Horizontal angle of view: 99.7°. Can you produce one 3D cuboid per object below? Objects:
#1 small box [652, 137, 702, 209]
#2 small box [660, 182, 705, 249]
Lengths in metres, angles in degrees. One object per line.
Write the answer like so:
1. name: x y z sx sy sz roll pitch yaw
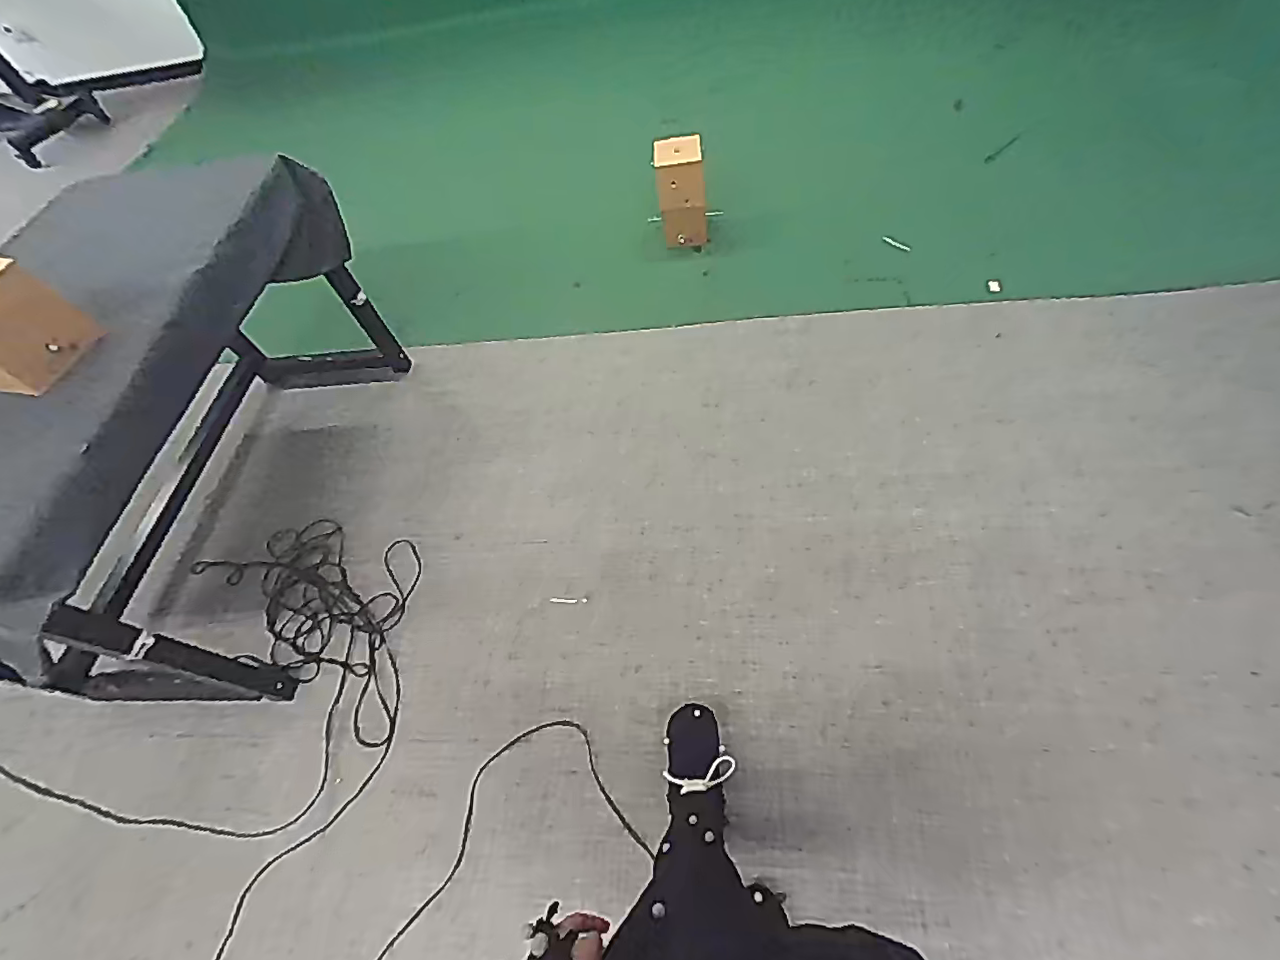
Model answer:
1. small box: 0.137 -1.114 1.974 0.168 0.176 0.179 -4 57 7
2. small box: 0.167 -1.031 2.111 0.168 0.176 0.179 -3 58 8
